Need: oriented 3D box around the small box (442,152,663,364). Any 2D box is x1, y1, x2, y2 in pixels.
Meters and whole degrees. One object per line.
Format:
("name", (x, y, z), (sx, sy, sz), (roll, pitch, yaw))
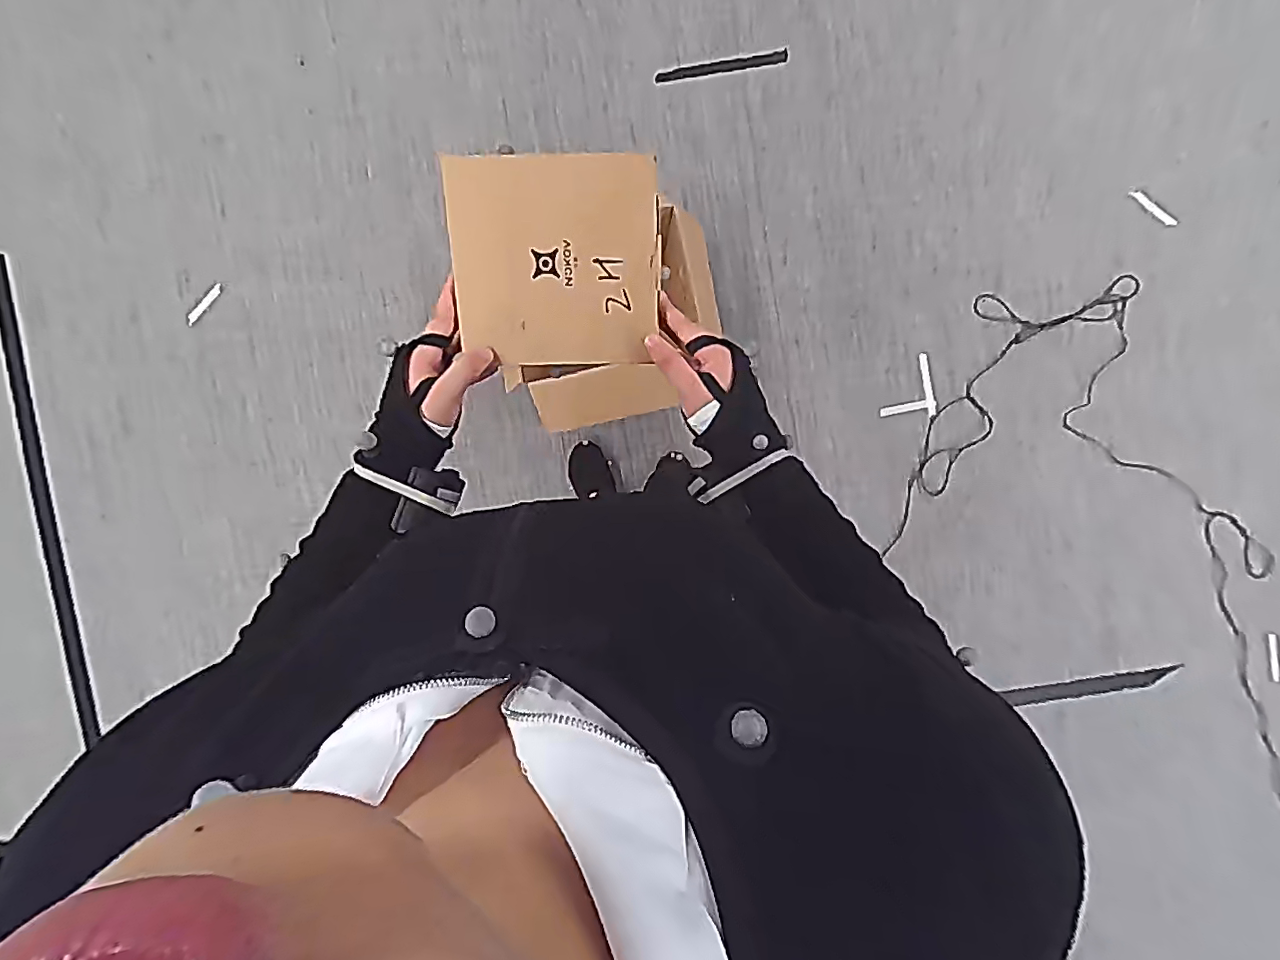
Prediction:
("small box", (-0.069, -0.201, 0.521), (0.179, 0.176, 0.168), (-1, 107, -1))
